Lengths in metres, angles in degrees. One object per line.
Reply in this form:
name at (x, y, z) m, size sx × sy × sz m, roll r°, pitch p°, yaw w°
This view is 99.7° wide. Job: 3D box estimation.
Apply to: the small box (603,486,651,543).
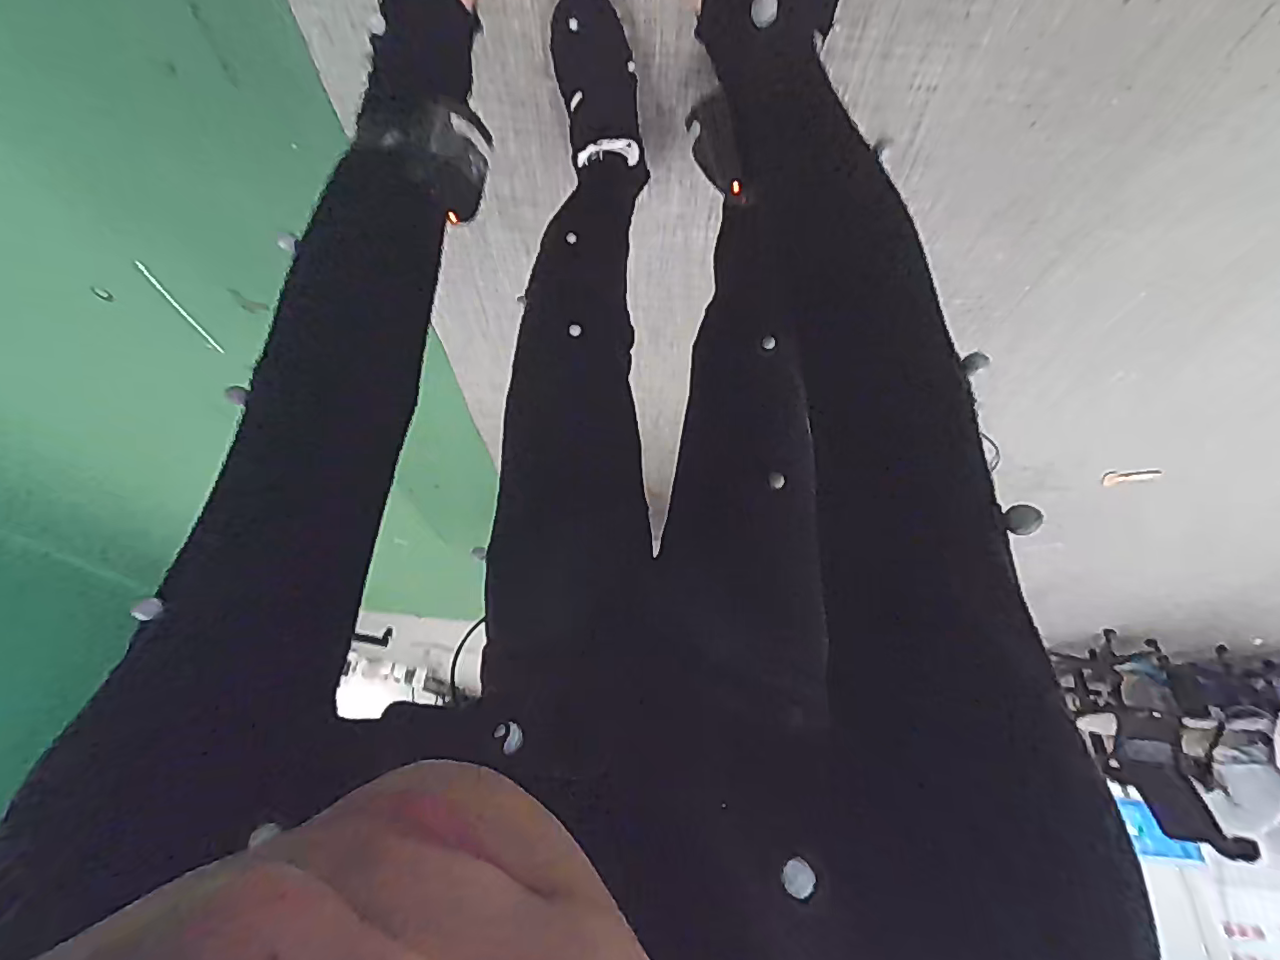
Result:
small box at (-0.046, 0.131, 2.072) m, size 0.168 × 0.176 × 0.179 m, roll 3°, pitch 153°, yaw 5°
